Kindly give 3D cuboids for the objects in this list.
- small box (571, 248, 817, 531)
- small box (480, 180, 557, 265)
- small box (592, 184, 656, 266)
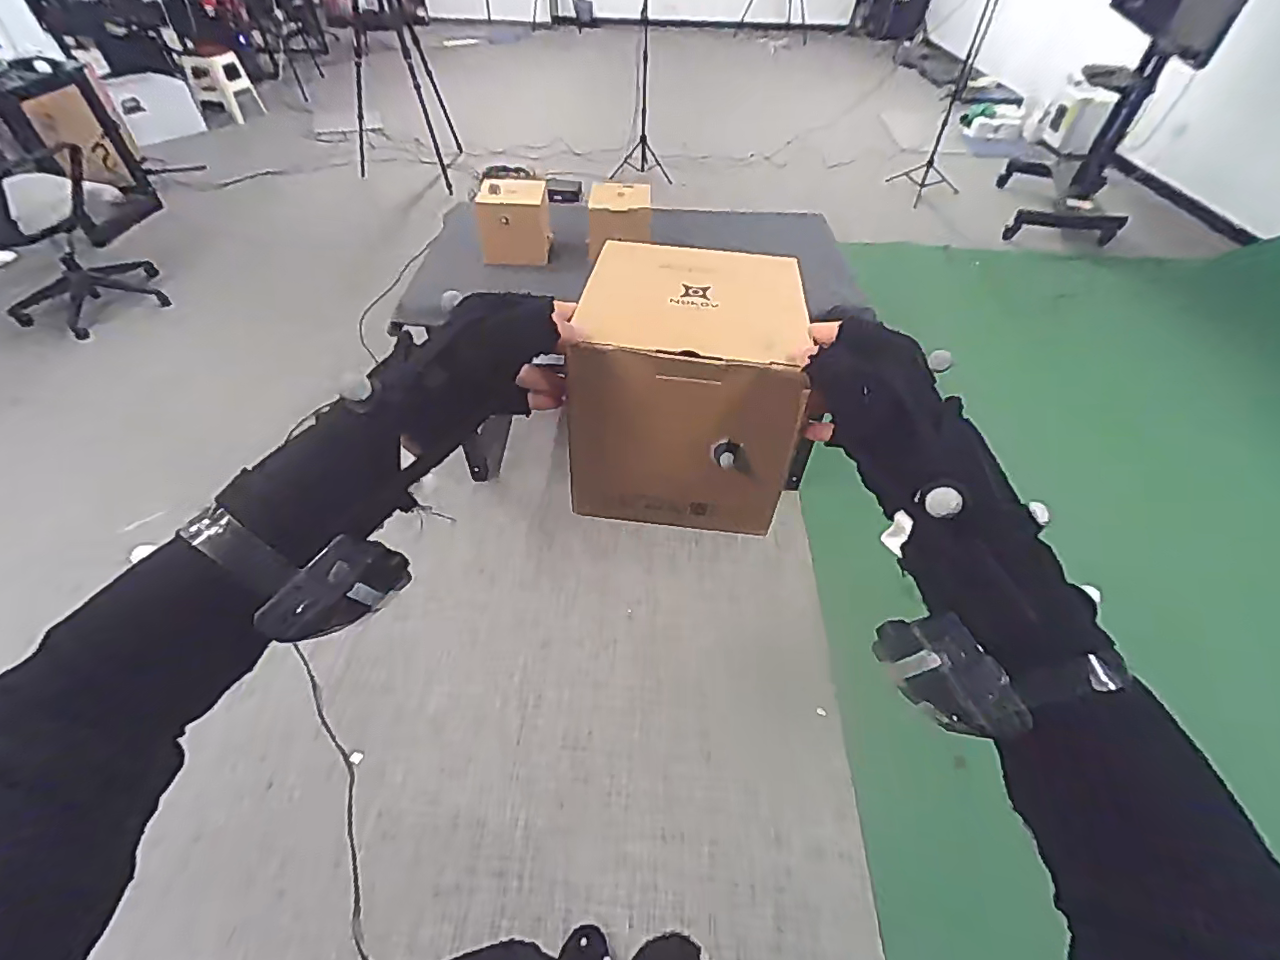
[{"bbox_3d":[0.041,-0.077,0.467,0.168,0.176,0.179,8,43,2],"label":"small box"},{"bbox_3d":[-0.333,-0.722,1.518,0.179,0.176,0.168,1,48,-2],"label":"small box"},{"bbox_3d":[-0.040,-0.707,1.517,0.168,0.176,0.179,2,48,0],"label":"small box"}]
